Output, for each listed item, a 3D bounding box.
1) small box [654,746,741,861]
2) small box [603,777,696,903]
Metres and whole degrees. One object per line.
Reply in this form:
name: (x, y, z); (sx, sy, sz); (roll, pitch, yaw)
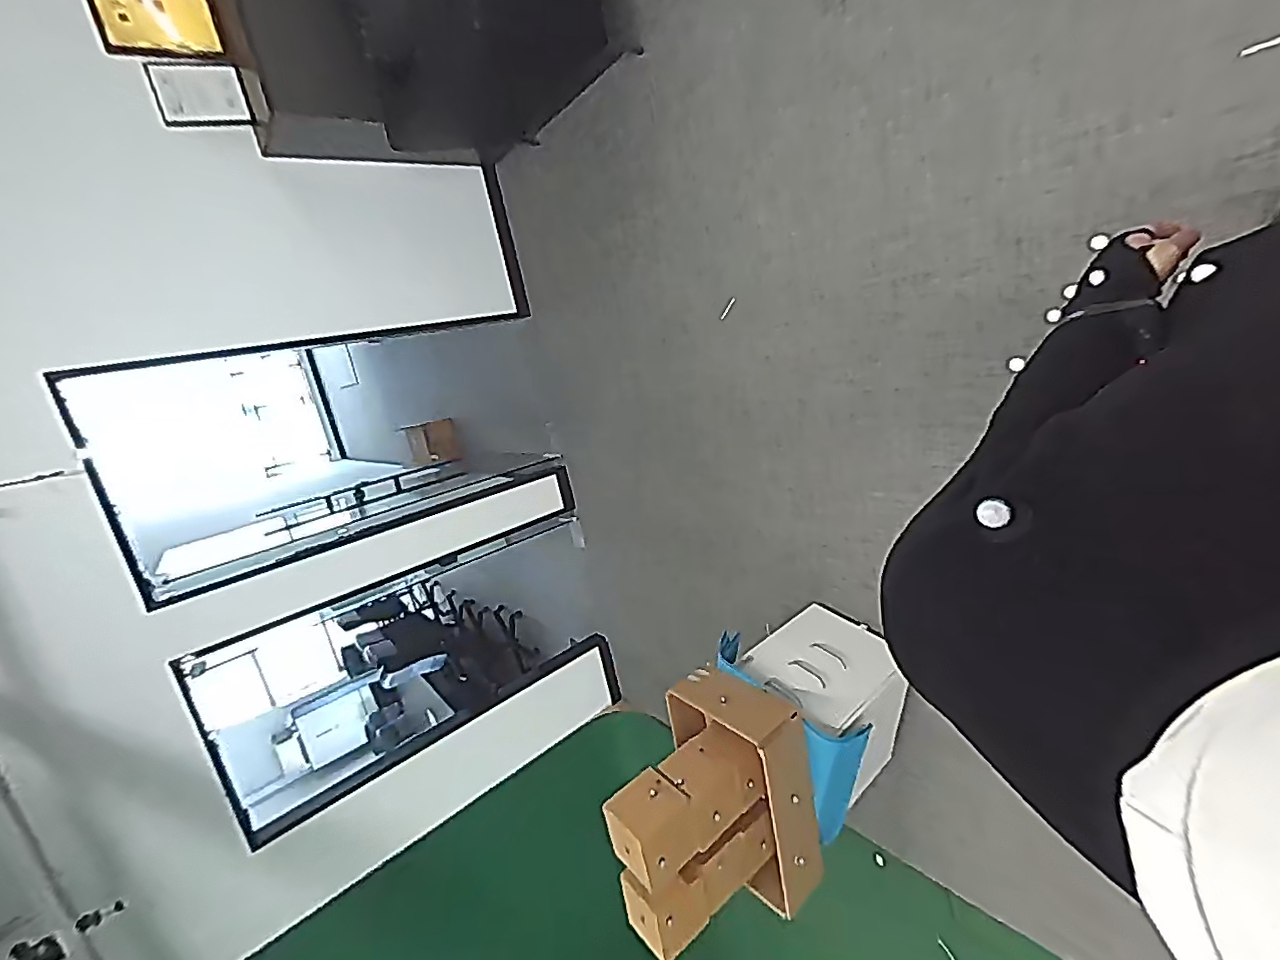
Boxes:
small box: (0.162, 0.895, 1.512); (0.168, 0.176, 0.179); (6, 112, 52)
small box: (0.030, 0.935, 1.421); (0.168, 0.176, 0.179); (8, 113, 51)
